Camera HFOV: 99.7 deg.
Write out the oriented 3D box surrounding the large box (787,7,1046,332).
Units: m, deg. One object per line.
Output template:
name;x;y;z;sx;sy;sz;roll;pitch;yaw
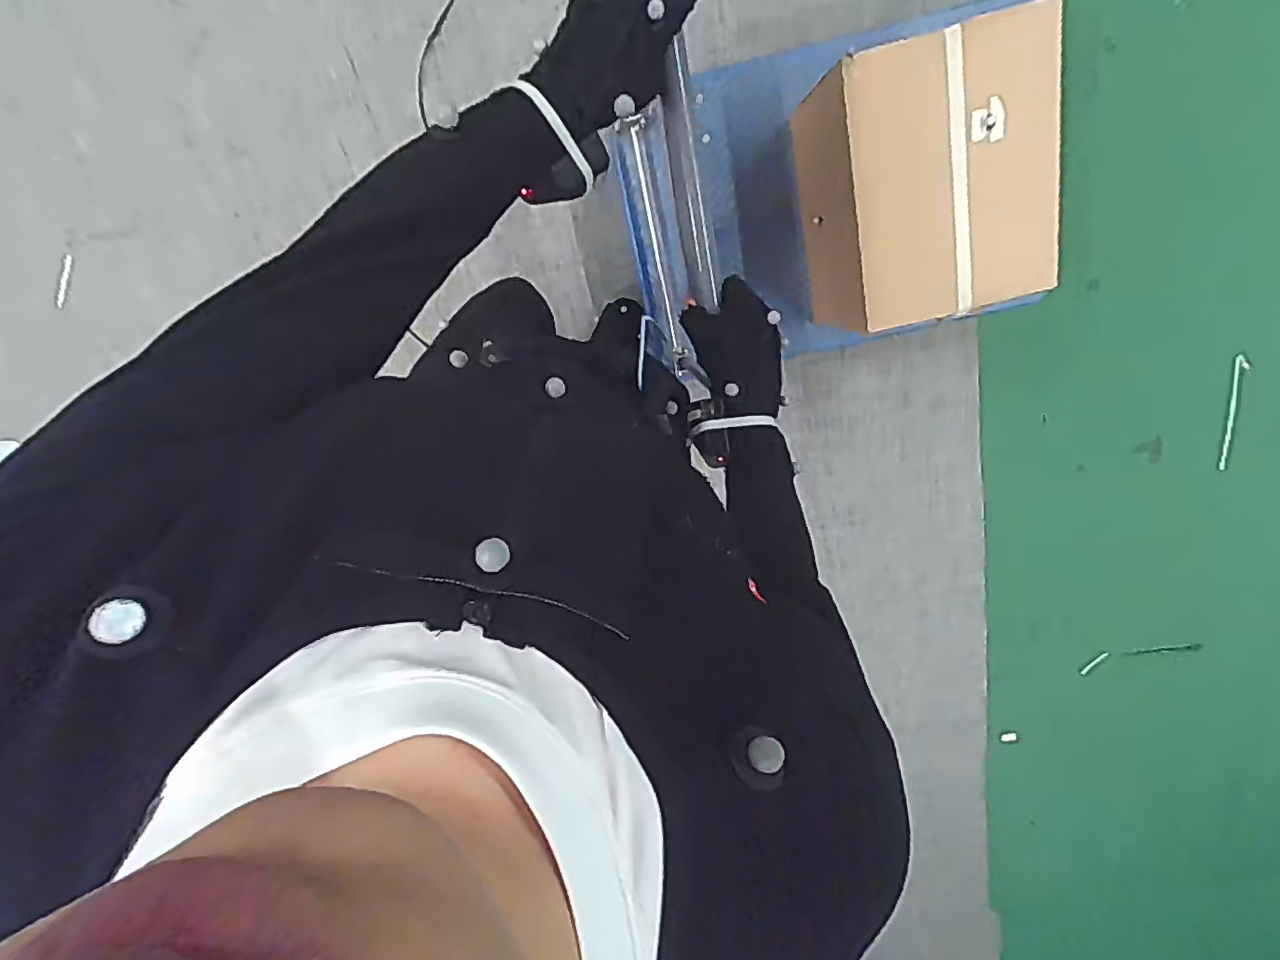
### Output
large box;0.484;-0.517;0.996;0.320;0.320;0.408;-13;108;4
